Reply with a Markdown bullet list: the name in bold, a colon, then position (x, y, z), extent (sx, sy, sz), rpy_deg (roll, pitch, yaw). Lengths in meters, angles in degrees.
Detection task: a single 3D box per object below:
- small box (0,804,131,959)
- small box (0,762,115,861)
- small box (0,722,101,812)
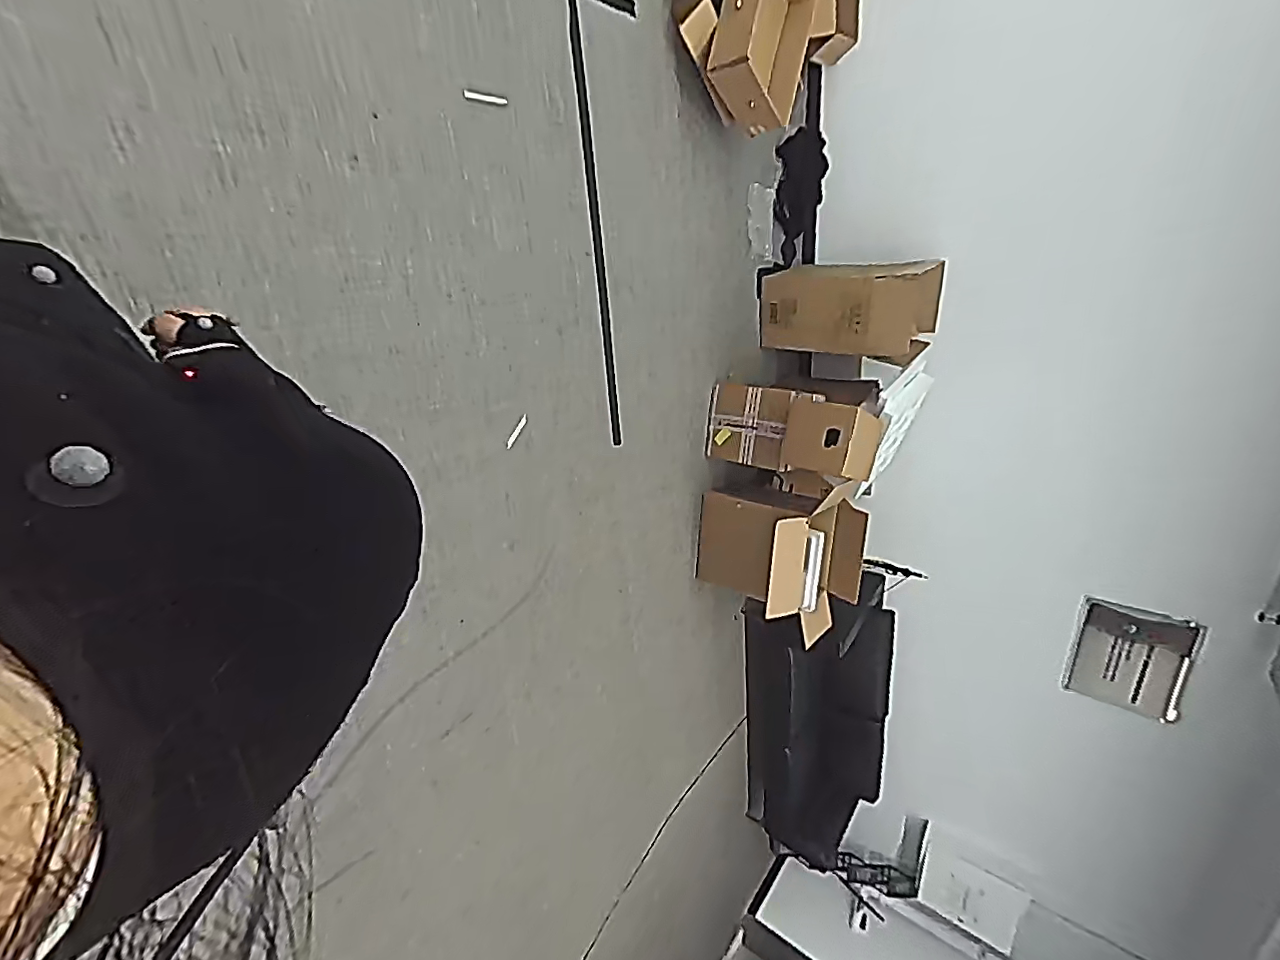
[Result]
- **small box**: position (-0.947, 0.659, 0.835), extent (0.179, 0.176, 0.168), rpy_deg (-32, 123, -42)
- **small box**: position (-1.070, 0.627, 0.936), extent (0.168, 0.176, 0.179), rpy_deg (-31, 125, -42)
- **small box**: position (-1.194, 0.597, 1.035), extent (0.168, 0.176, 0.179), rpy_deg (-31, 124, -43)
